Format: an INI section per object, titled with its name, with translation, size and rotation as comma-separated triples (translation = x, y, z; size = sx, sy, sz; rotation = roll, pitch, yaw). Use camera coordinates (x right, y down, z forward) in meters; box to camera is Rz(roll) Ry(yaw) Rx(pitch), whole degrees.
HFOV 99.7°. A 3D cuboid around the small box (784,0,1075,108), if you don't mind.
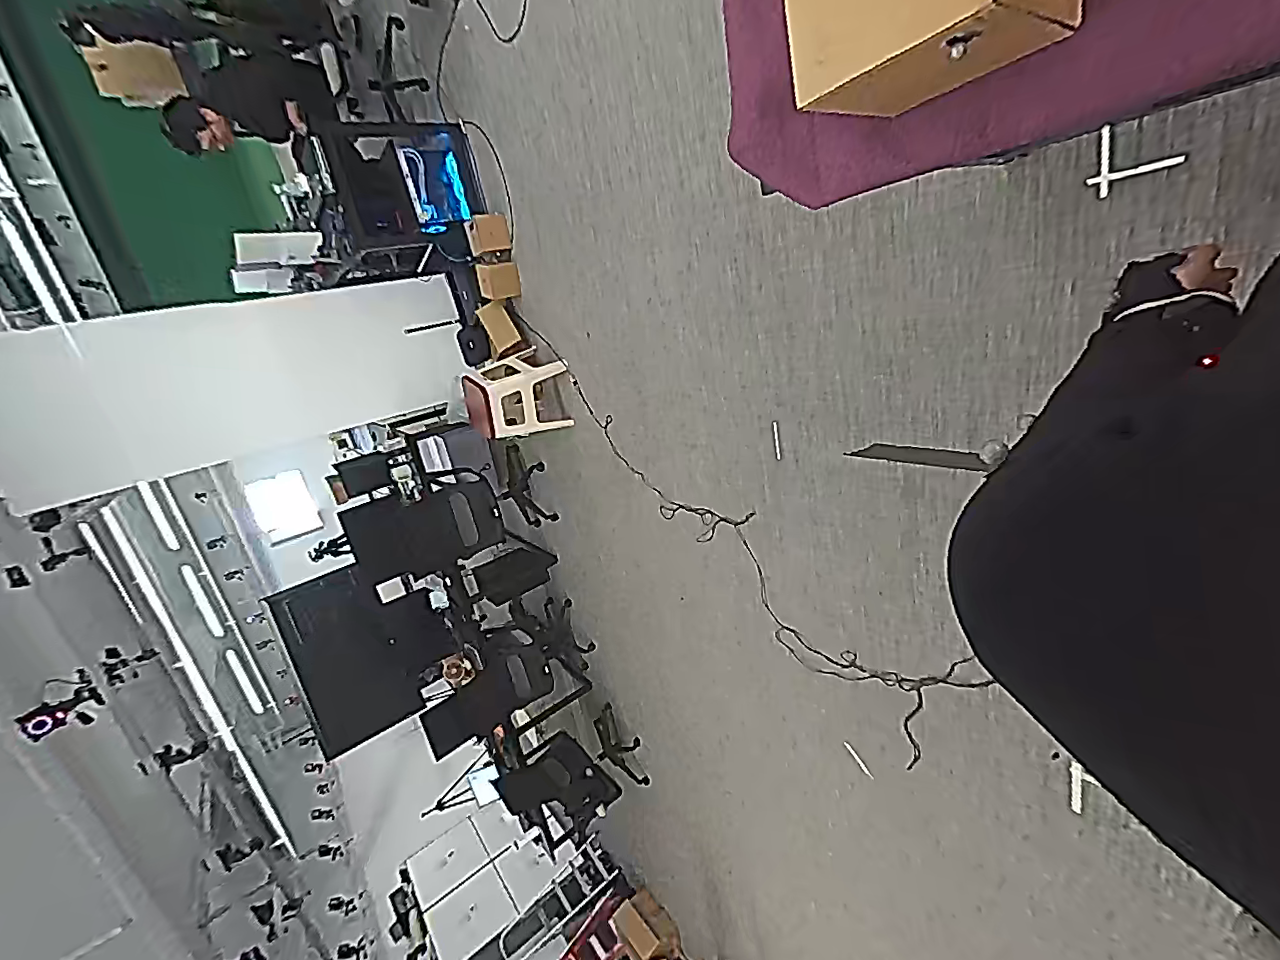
[small box]
translation = 0.248, -0.455, 0.476
size = 0.179, 0.176, 0.168
rotation = 8, 116, 54
